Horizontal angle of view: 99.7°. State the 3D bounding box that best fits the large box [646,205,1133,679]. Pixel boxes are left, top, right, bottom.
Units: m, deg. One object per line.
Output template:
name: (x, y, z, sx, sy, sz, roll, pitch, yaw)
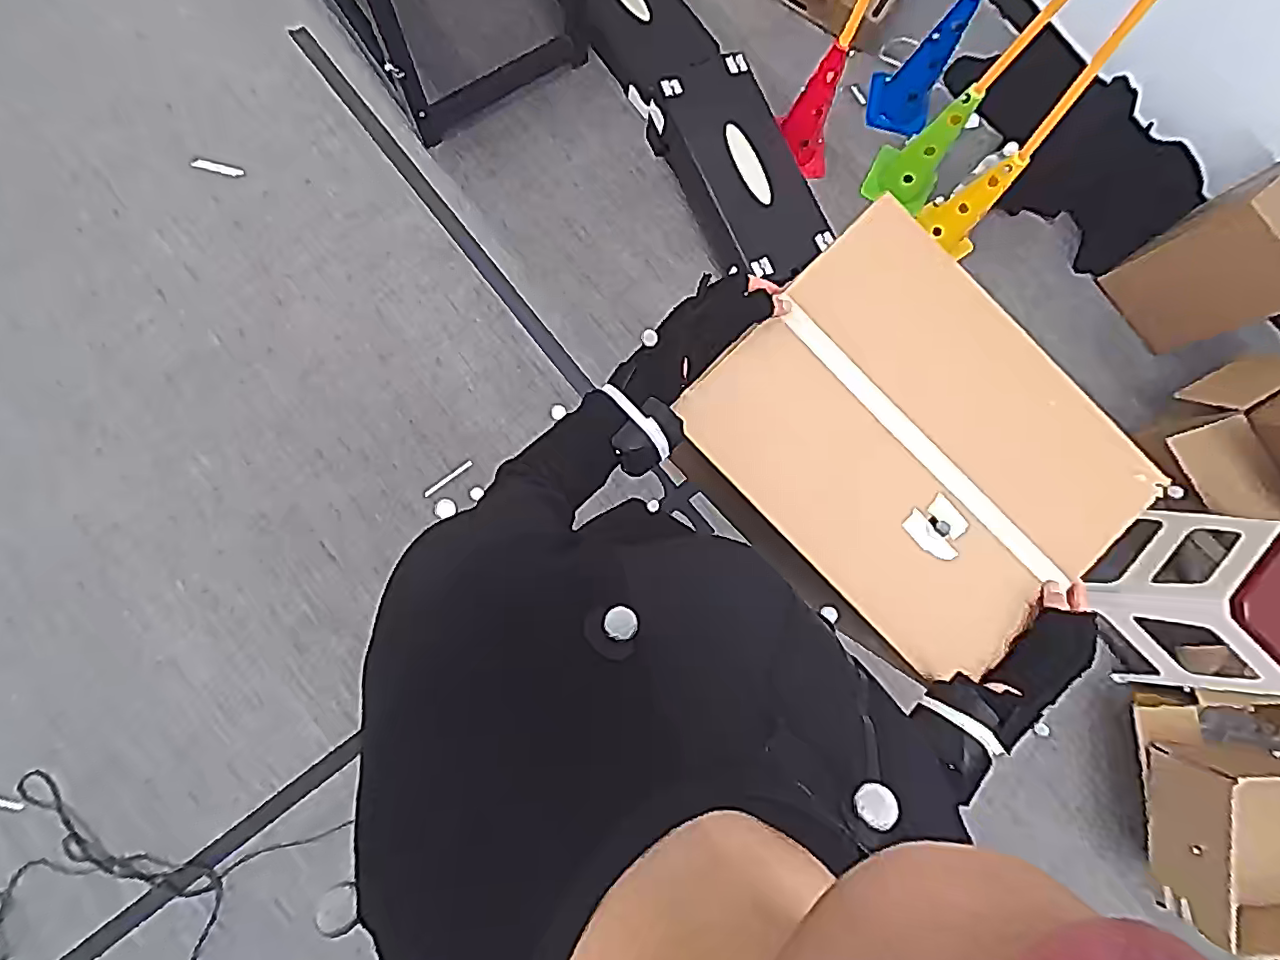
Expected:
large box: (0.259, -0.039, 0.697, 0.320, 0.320, 0.408, -44, 92, -1)
